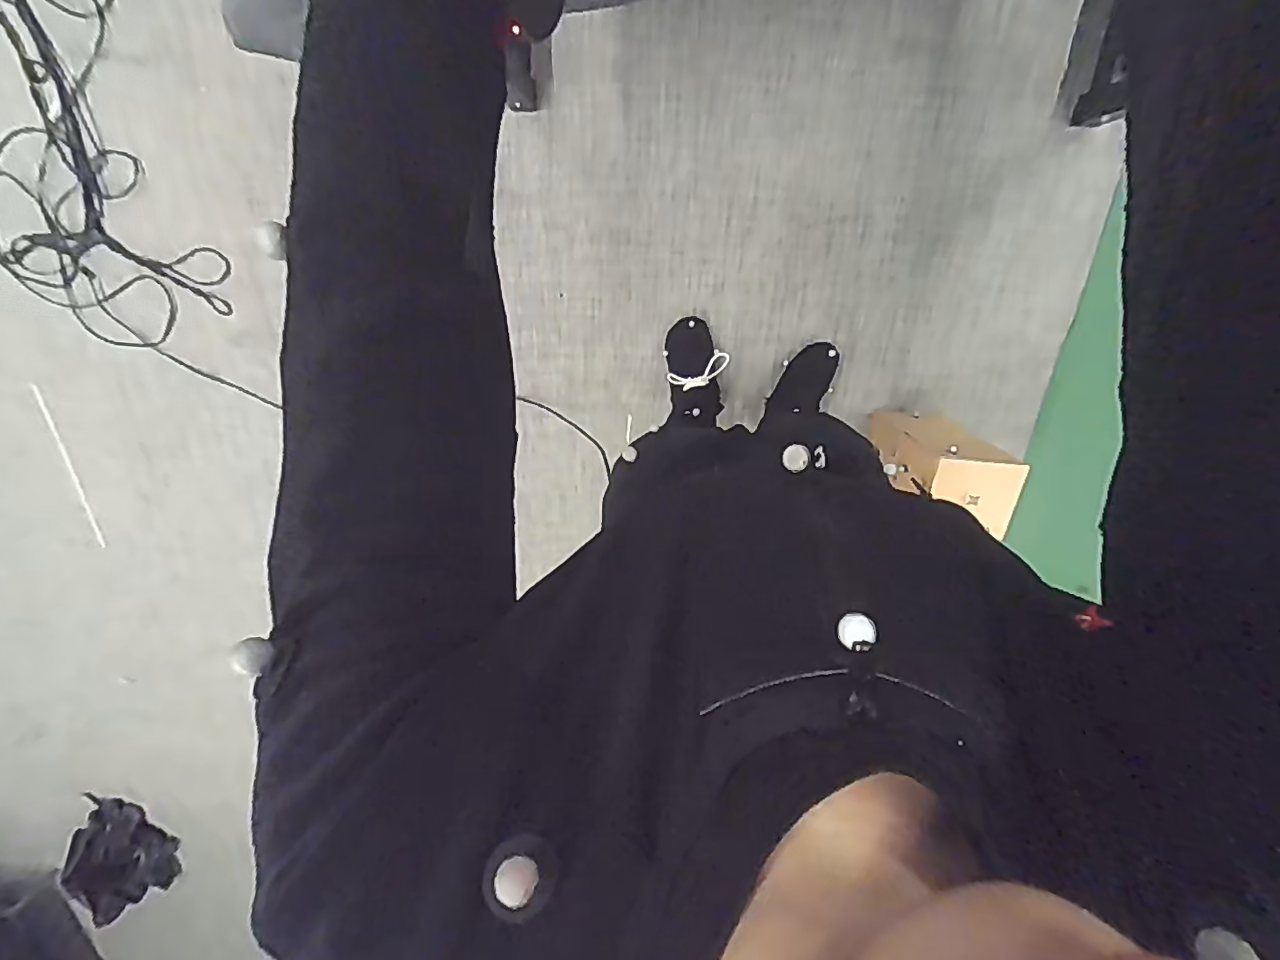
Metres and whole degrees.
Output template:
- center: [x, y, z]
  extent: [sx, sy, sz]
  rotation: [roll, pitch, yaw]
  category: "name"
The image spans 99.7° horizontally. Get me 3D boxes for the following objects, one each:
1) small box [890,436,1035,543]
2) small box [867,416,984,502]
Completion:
- center: [0.651, 0.014, 1.115]
  extent: [0.179, 0.176, 0.168]
  rotation: [4, 113, 1]
  category: "small box"
- center: [0.655, -0.050, 1.266]
  extent: [0.179, 0.176, 0.168]
  rotation: [3, 112, 2]
  category: "small box"
